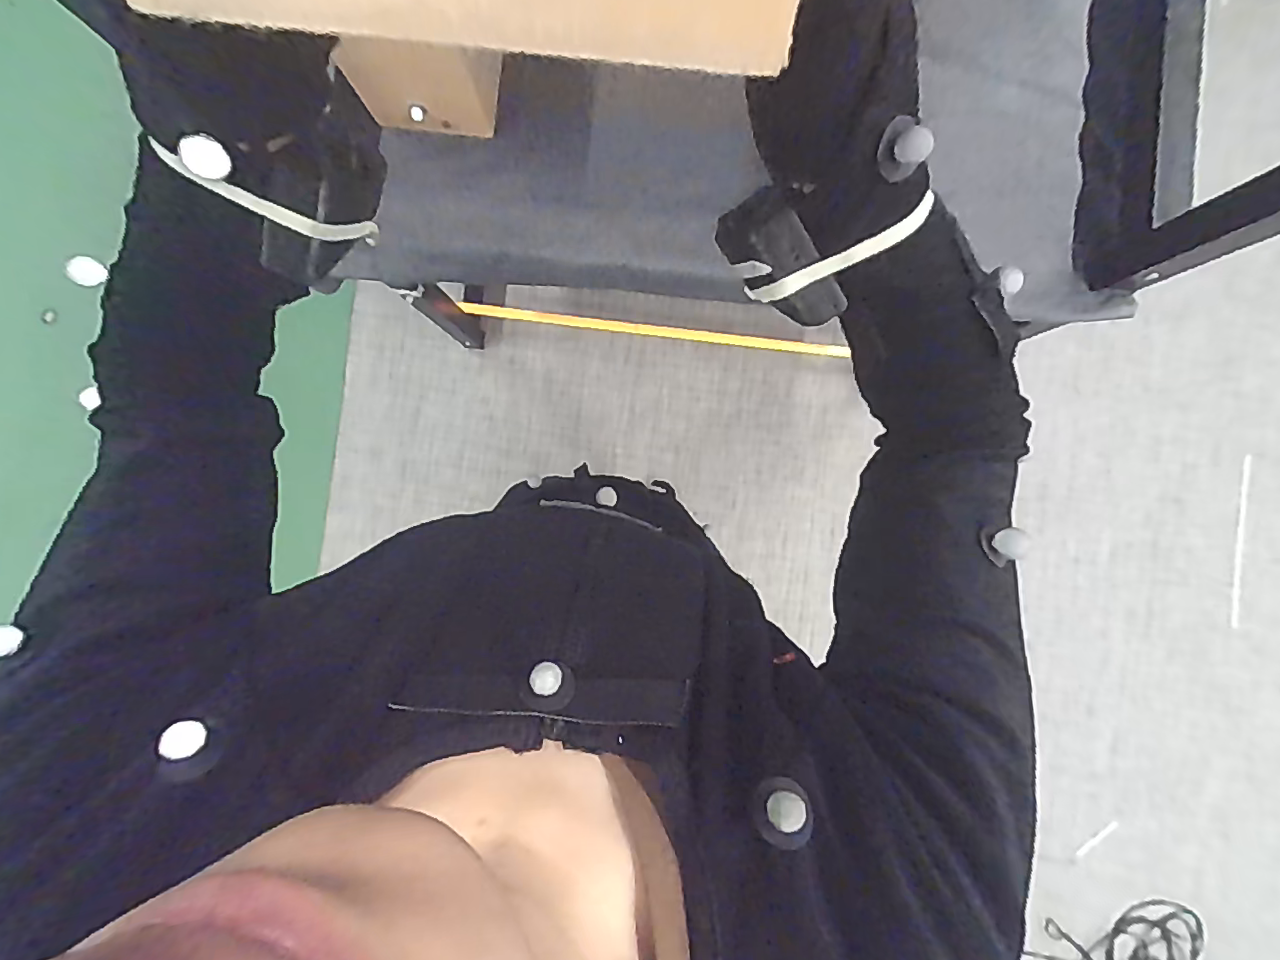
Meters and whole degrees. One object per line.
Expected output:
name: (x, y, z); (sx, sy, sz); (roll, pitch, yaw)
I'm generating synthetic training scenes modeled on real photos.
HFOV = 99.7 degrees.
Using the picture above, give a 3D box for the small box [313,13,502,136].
small box: (-0.281, -0.588, 0.693); (0.168, 0.176, 0.179); (6, 89, -1)
